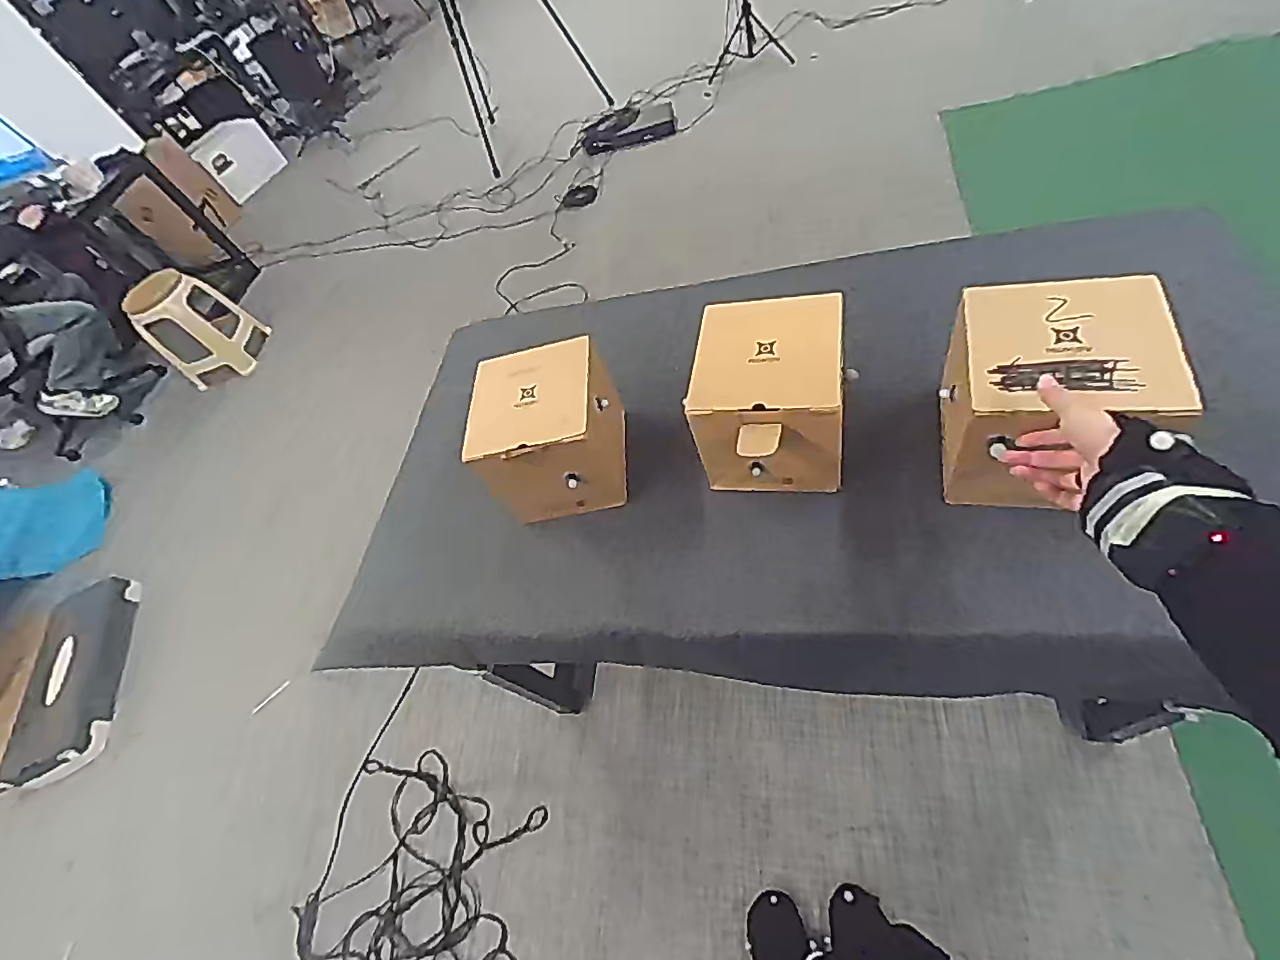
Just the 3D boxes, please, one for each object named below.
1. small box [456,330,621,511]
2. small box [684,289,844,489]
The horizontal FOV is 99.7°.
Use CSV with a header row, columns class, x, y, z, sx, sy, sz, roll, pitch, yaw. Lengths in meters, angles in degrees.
class,x,y,z,sx,sy,sz,roll,pitch,yaw
small box,-0.126,-0.070,0.746,0.168,0.176,0.179,-10,54,11
small box,0.161,-0.108,0.673,0.168,0.176,0.179,1,58,19
